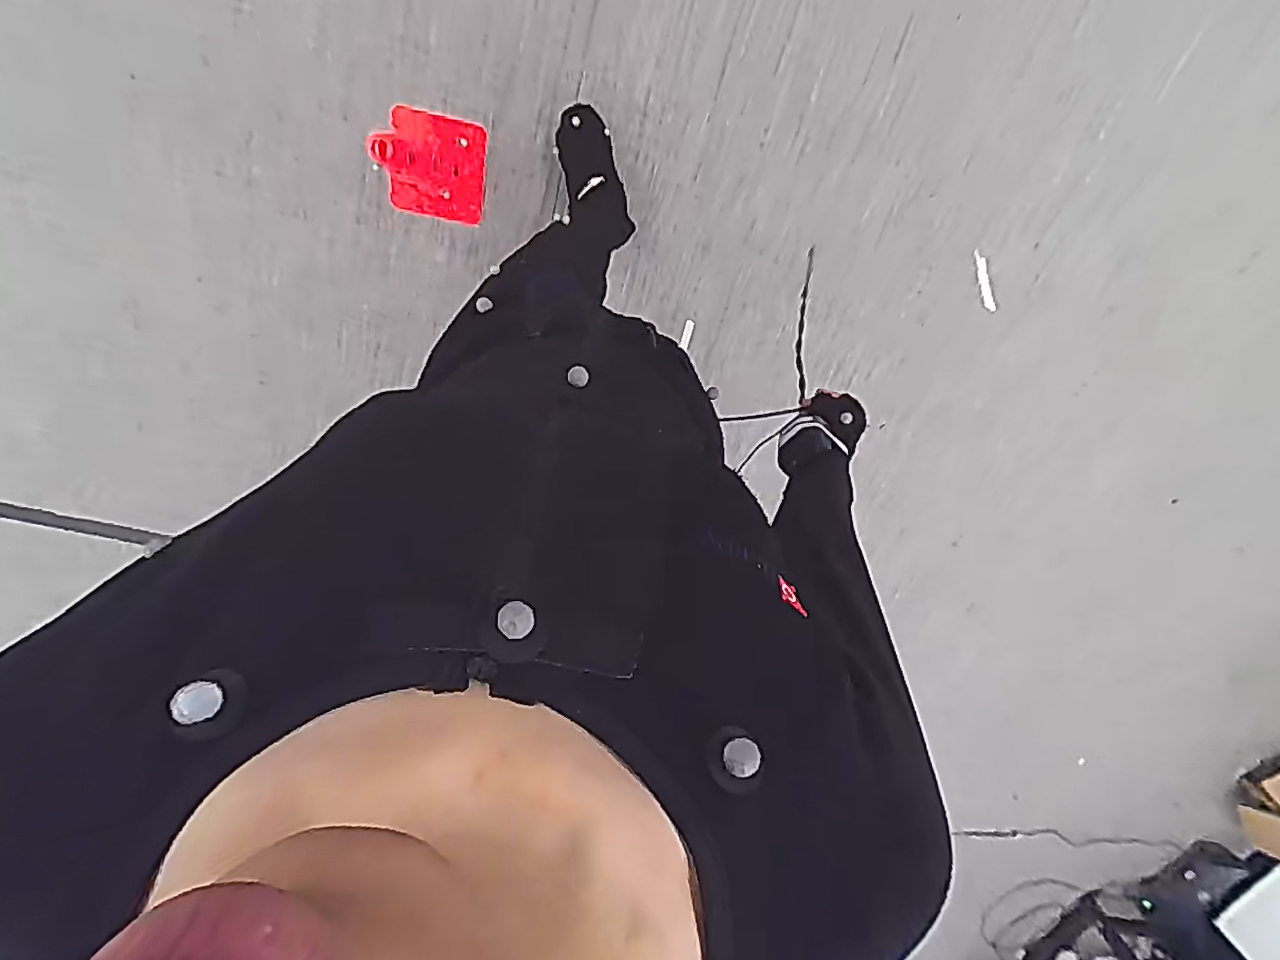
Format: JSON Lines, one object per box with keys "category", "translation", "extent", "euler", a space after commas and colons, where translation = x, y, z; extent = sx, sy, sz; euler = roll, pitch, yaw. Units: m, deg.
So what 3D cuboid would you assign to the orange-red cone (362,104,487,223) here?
{"category": "orange-red cone", "translation": [-0.431, -0.606, 1.010], "extent": [0.199, 0.360, 0.198], "euler": [10, 114, -7]}
